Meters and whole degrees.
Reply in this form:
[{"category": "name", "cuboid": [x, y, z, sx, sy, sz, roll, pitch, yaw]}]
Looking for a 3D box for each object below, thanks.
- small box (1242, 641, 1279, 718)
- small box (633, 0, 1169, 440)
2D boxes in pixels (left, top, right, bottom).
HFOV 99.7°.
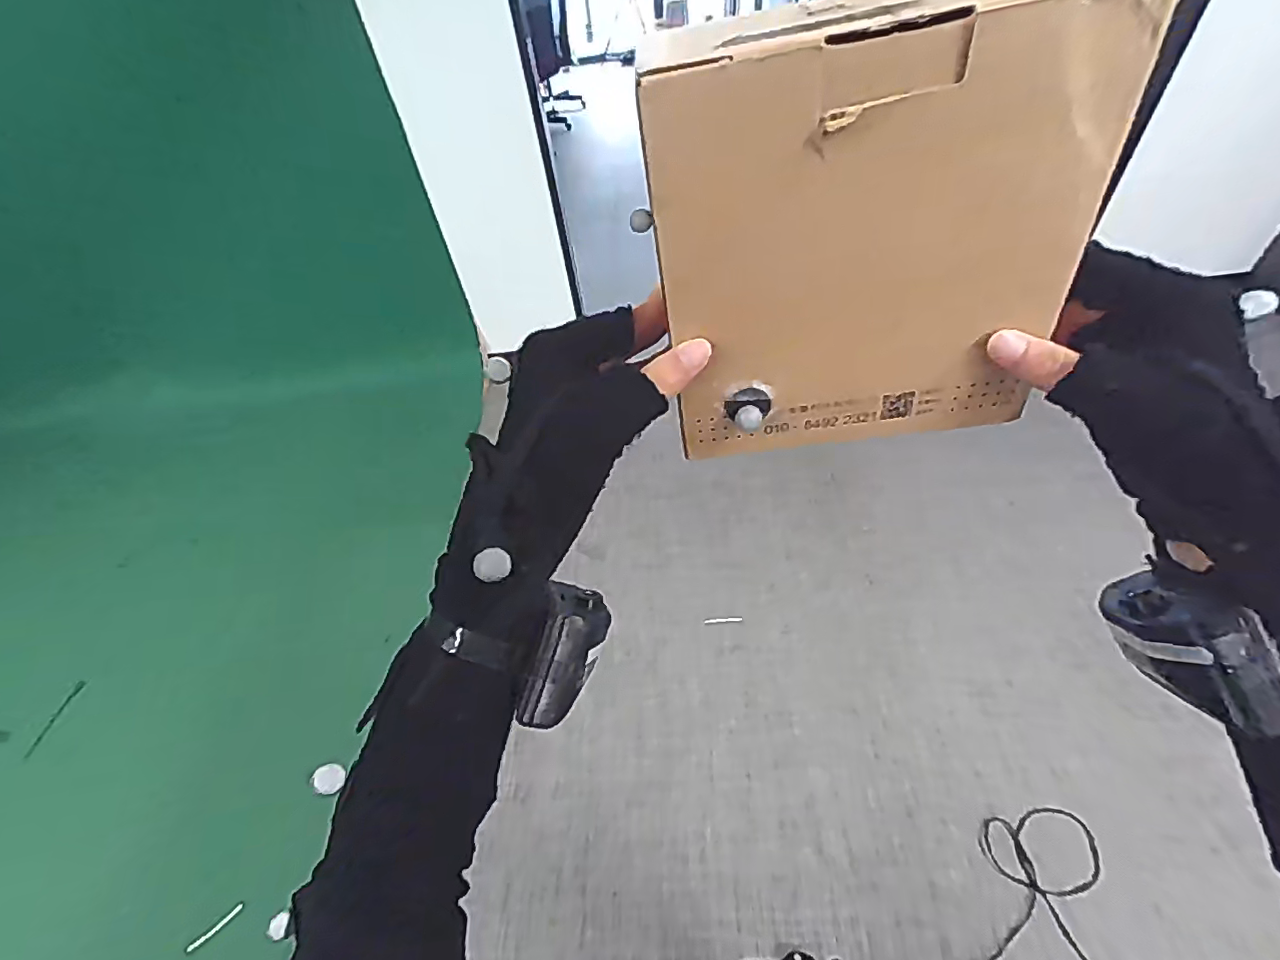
[{"category": "small box", "cuboid": [1.584, 0.459, 1.243, 0.179, 0.176, 0.168, -5, 47, 4]}, {"category": "small box", "cuboid": [0.092, -0.133, 0.279, 0.168, 0.176, 0.179, -7, 41, 6]}]
